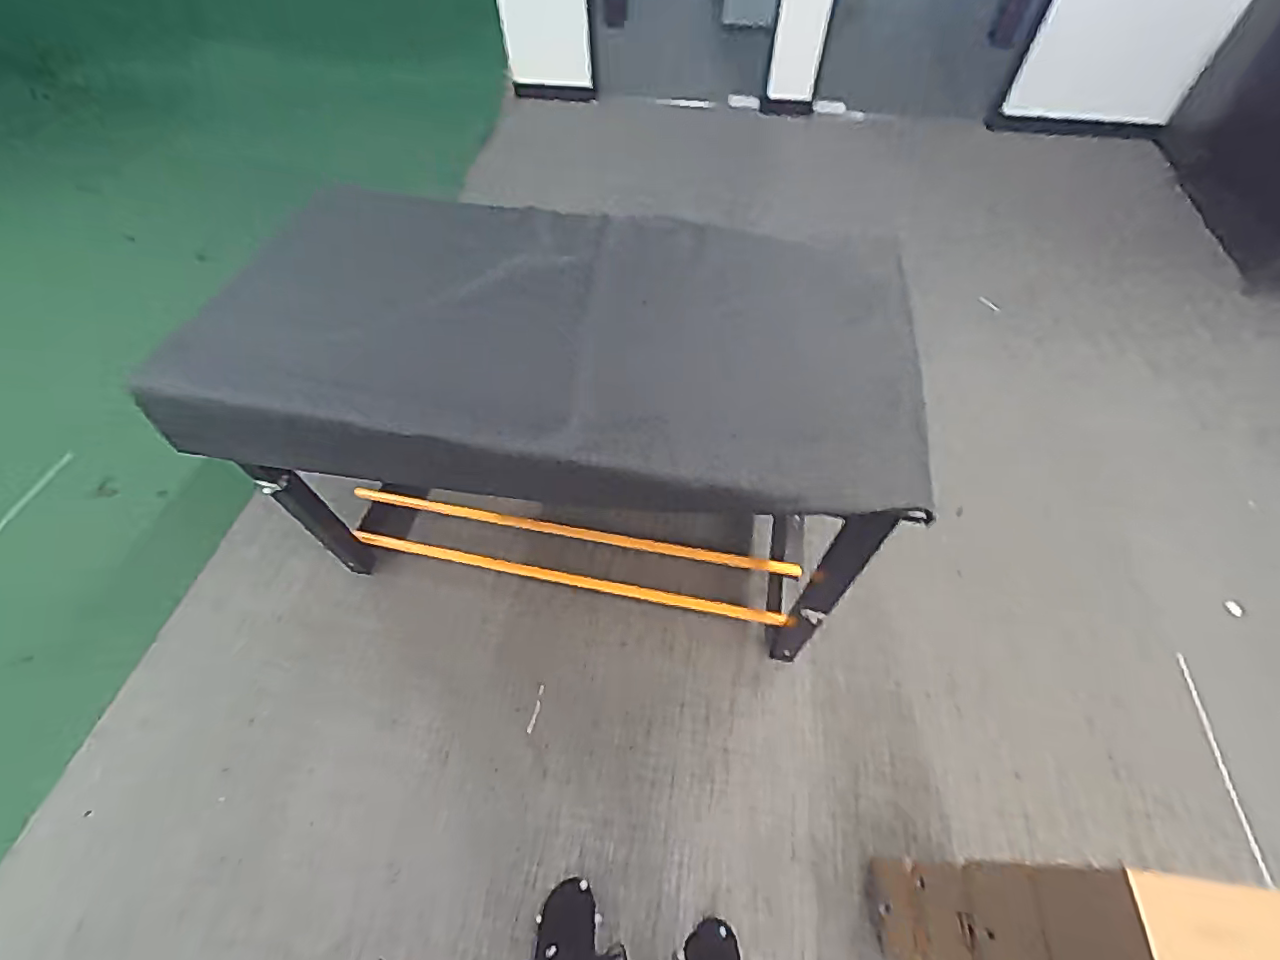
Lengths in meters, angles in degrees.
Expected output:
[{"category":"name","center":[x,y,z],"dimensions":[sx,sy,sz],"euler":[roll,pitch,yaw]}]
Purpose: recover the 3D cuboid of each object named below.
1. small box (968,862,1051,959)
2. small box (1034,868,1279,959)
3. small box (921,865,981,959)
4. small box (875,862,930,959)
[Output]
[{"category":"small box","center":[0.562,0.616,0.701],"dimensions":[0.168,0.176,0.179],"euler":[5,56,4]},{"category":"small box","center":[0.563,0.526,0.565],"dimensions":[0.168,0.176,0.179],"euler":[6,55,4]},{"category":"small box","center":[0.559,0.708,0.836],"dimensions":[0.179,0.176,0.168],"euler":[6,56,3]},{"category":"small box","center":[0.548,0.798,0.973],"dimensions":[0.179,0.176,0.168],"euler":[4,55,4]}]
